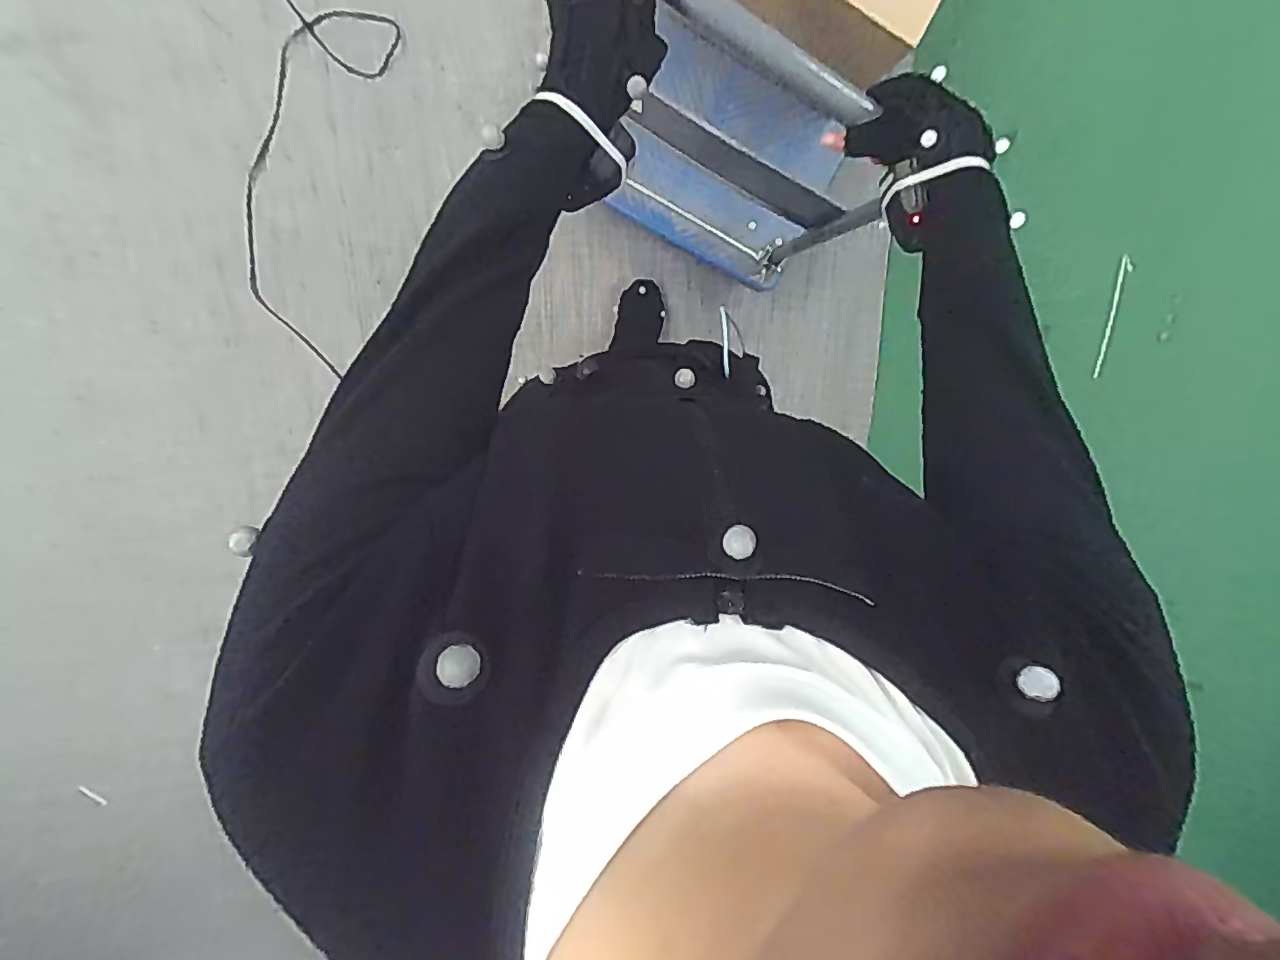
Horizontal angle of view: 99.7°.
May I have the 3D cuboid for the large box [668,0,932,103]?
[{"bbox_3d":[0.300,-0.938,0.910,0.408,0.320,0.320,24,103,-11],"label":"large box"}]
